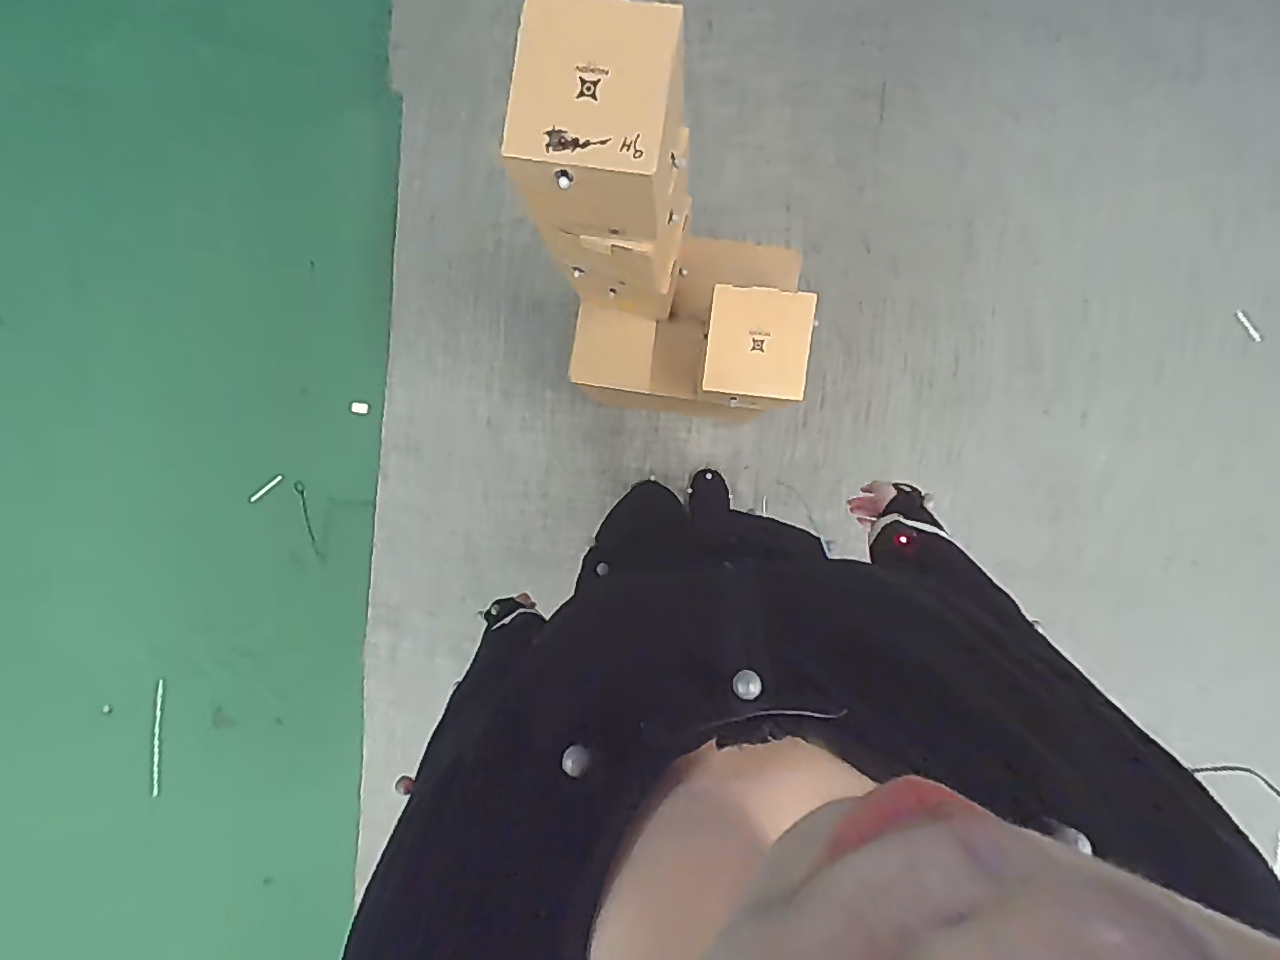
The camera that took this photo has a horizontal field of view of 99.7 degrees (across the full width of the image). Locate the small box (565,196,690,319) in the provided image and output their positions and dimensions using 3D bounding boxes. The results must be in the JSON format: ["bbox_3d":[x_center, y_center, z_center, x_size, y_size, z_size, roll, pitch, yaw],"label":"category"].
[{"bbox_3d":[-0.017,-0.403,0.964,0.179,0.176,0.168,15,92,3],"label":"small box"}]

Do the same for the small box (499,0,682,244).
[{"bbox_3d":[-0.047,-0.409,0.636,0.168,0.176,0.179,10,91,4],"label":"small box"}]

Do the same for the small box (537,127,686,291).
[{"bbox_3d":[-0.033,-0.403,0.800,0.168,0.176,0.179,17,91,4],"label":"small box"}]

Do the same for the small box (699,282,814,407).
[{"bbox_3d":[0.194,-0.227,0.951,0.168,0.176,0.179,7,92,4],"label":"small box"}]
